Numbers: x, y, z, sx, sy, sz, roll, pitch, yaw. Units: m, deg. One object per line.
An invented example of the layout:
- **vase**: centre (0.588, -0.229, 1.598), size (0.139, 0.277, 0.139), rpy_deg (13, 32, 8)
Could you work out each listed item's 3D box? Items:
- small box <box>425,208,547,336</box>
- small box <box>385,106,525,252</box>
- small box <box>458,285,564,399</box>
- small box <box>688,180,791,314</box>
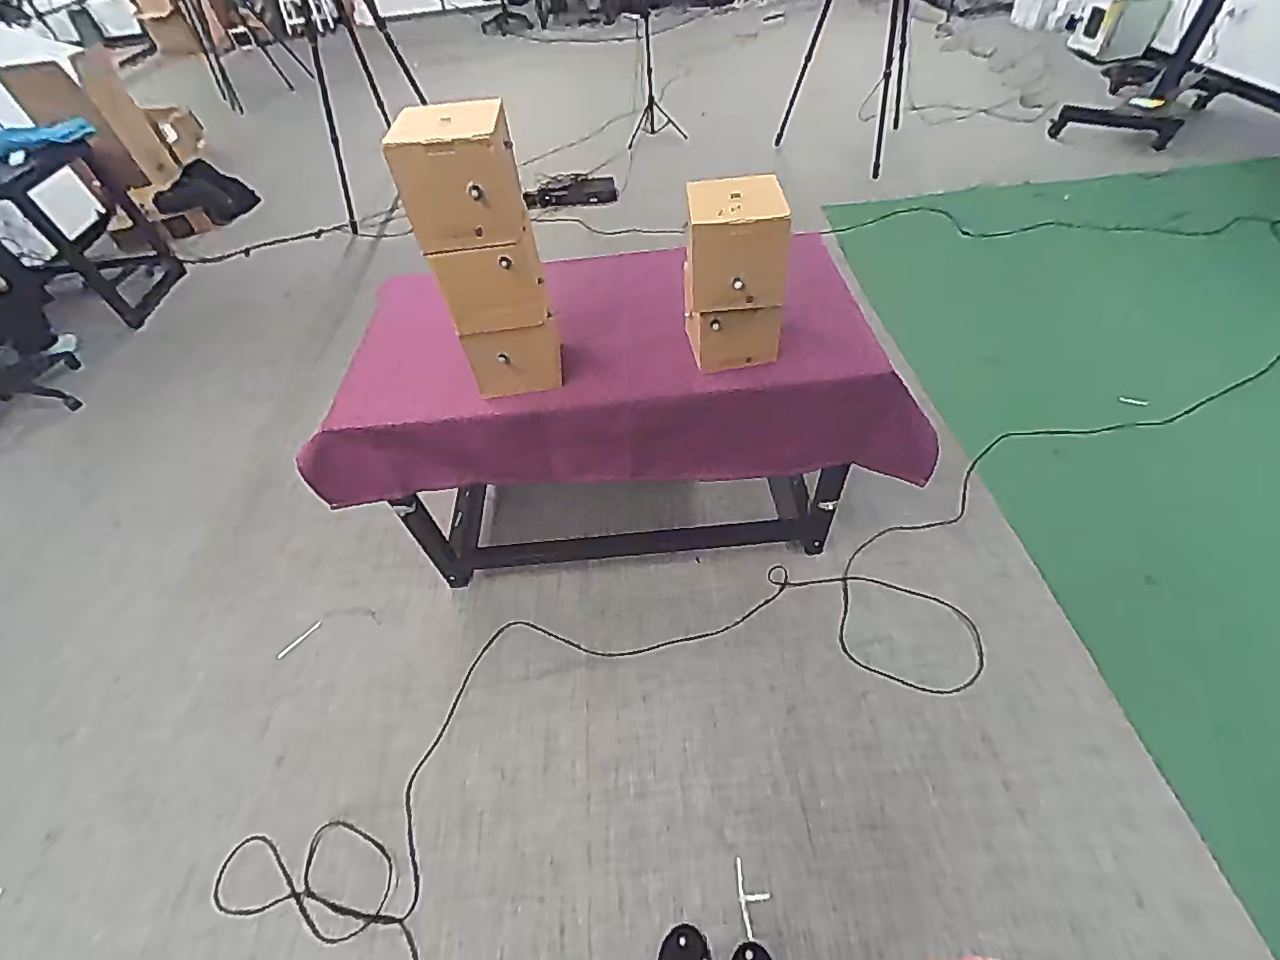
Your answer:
- **small box**: centre (-0.283, -0.392, 1.031), size (0.179, 0.176, 0.168), rpy_deg (-7, 49, -1)
- **small box**: centre (-0.296, -0.499, 0.909), size (0.168, 0.176, 0.179), rpy_deg (-5, 49, 0)
- **small box**: centre (-0.267, -0.291, 1.159), size (0.179, 0.176, 0.168), rpy_deg (-8, 50, 0)
- **small box**: centre (0.175, -0.430, 1.005), size (0.168, 0.176, 0.179), rpy_deg (-3, 50, 4)
